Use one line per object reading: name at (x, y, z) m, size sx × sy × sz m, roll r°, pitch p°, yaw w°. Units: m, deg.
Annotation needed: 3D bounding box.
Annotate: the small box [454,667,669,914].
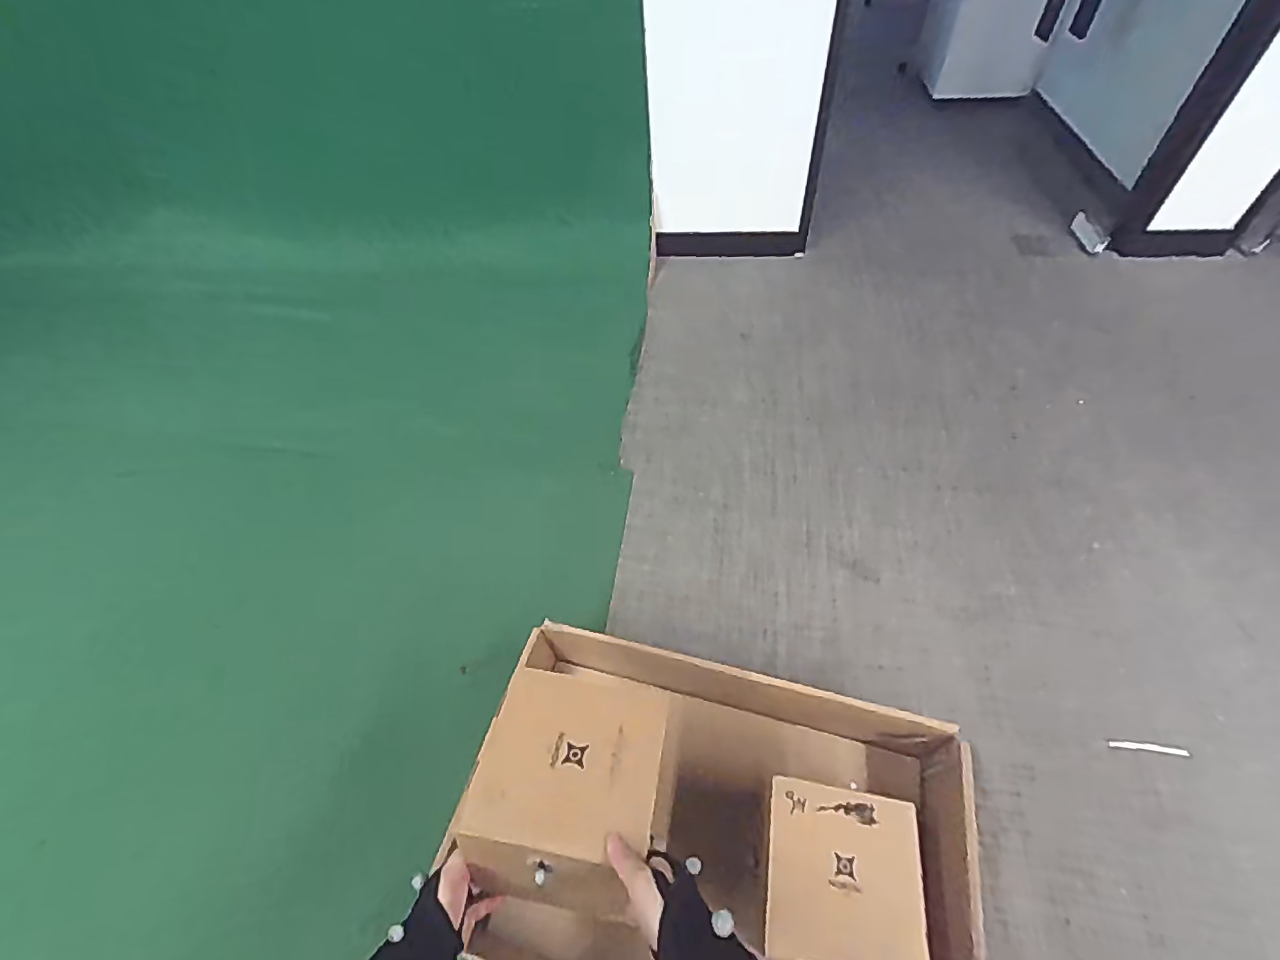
small box at (-0.069, 0.333, 0.584) m, size 0.179 × 0.176 × 0.168 m, roll 7°, pitch 39°, yaw 8°
